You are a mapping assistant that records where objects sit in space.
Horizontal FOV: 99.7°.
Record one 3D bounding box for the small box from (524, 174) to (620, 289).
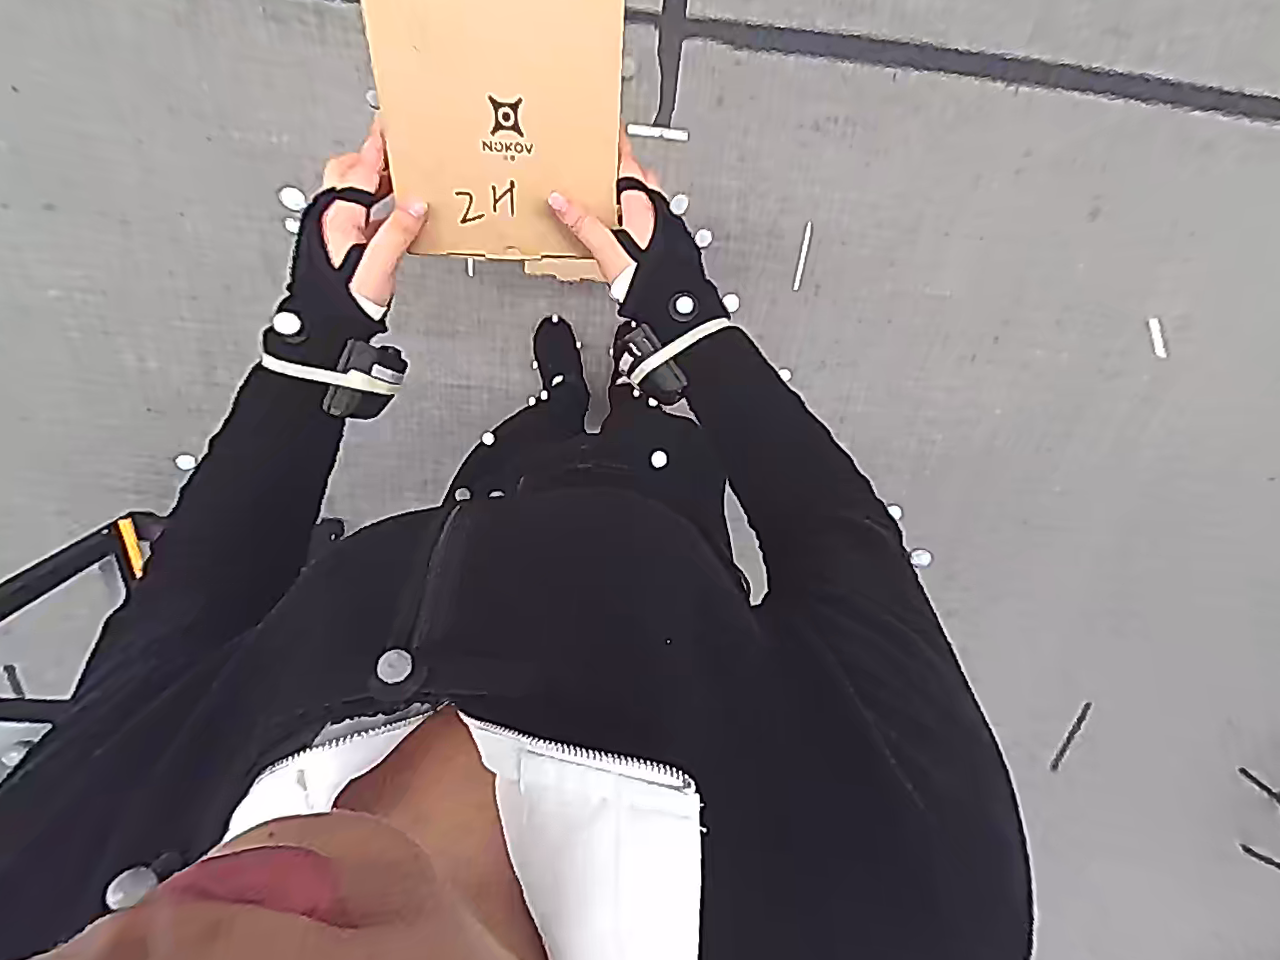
[{"bbox_3d":[-0.129,-0.481,1.055,0.168,0.176,0.179,5,114,-4],"label":"small box"}]
